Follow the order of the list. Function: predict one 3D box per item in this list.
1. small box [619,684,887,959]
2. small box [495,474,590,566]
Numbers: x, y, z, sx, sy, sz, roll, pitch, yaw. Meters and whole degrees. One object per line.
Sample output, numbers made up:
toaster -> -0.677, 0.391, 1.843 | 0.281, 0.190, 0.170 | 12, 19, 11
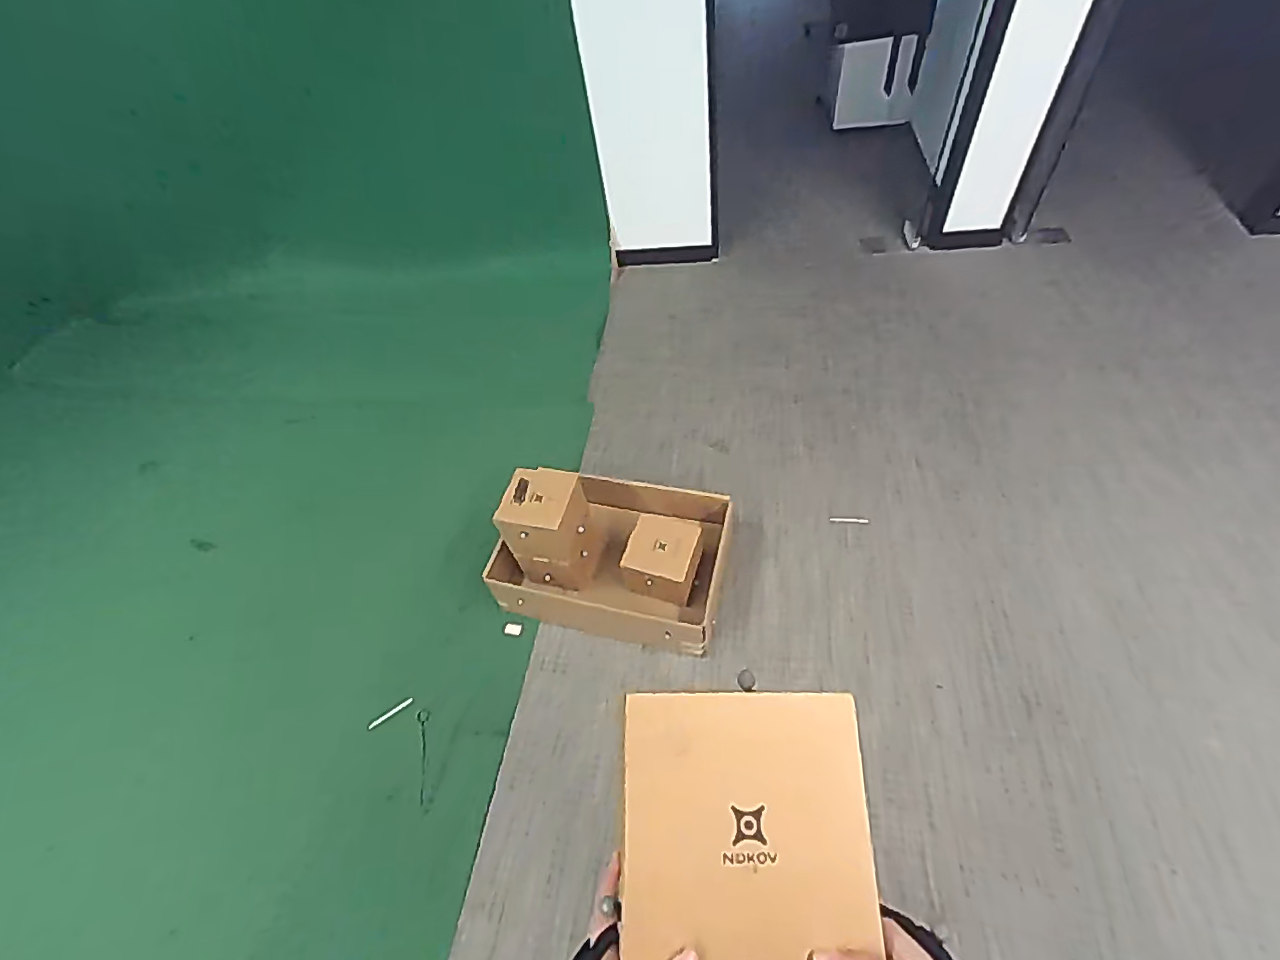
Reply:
small box -> 0.070, 0.259, 0.436 | 0.168, 0.176, 0.179 | 2, 71, -4
small box -> -0.246, 0.106, 1.409 | 0.179, 0.176, 0.168 | 8, 54, 14
